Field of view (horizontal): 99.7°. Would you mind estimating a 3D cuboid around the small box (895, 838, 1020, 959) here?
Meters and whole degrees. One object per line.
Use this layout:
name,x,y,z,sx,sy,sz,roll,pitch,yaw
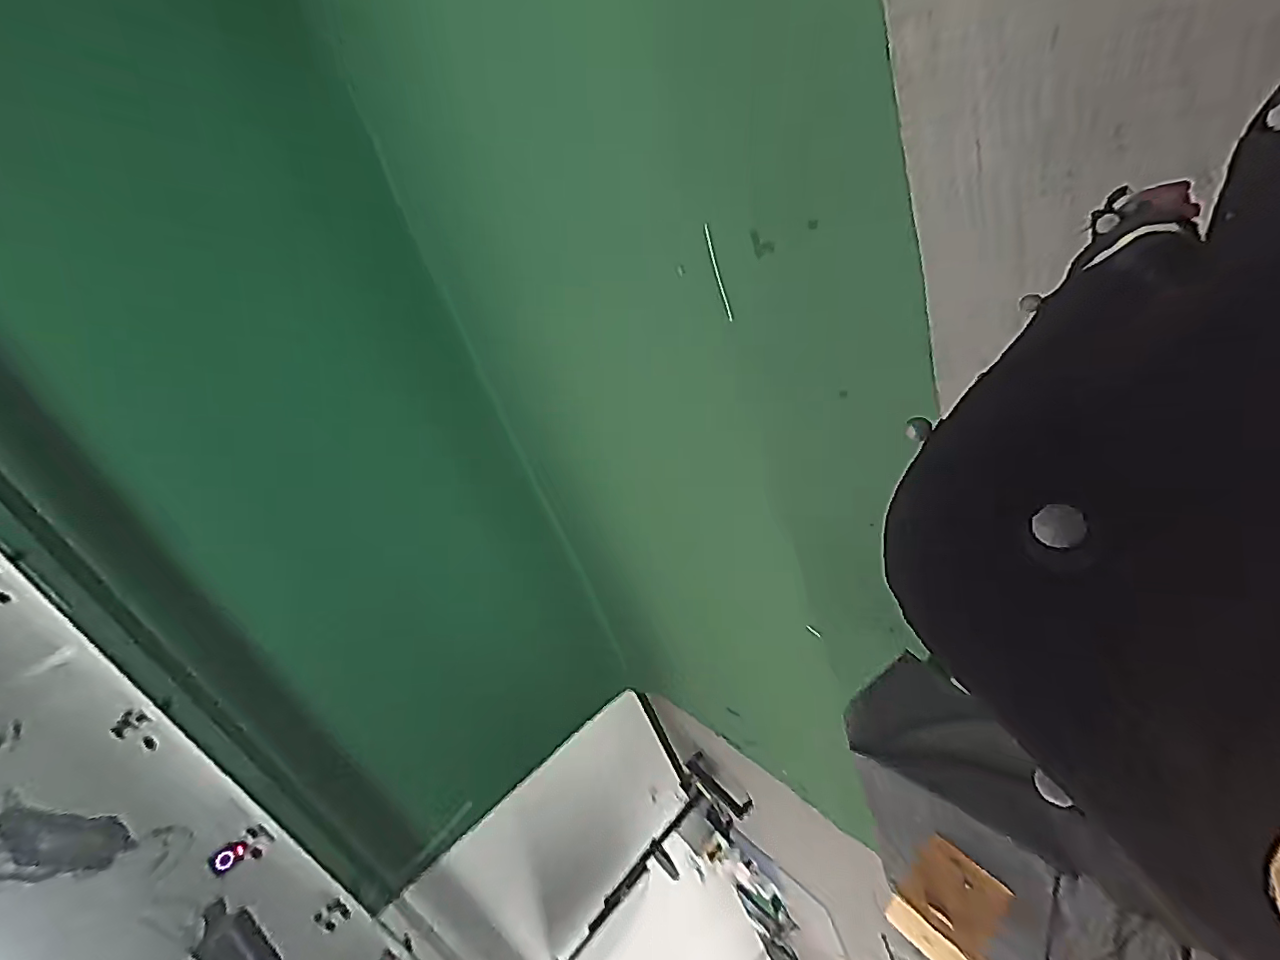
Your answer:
small box,0.672,0.917,1.150,0.168,0.176,0.179,28,142,41
